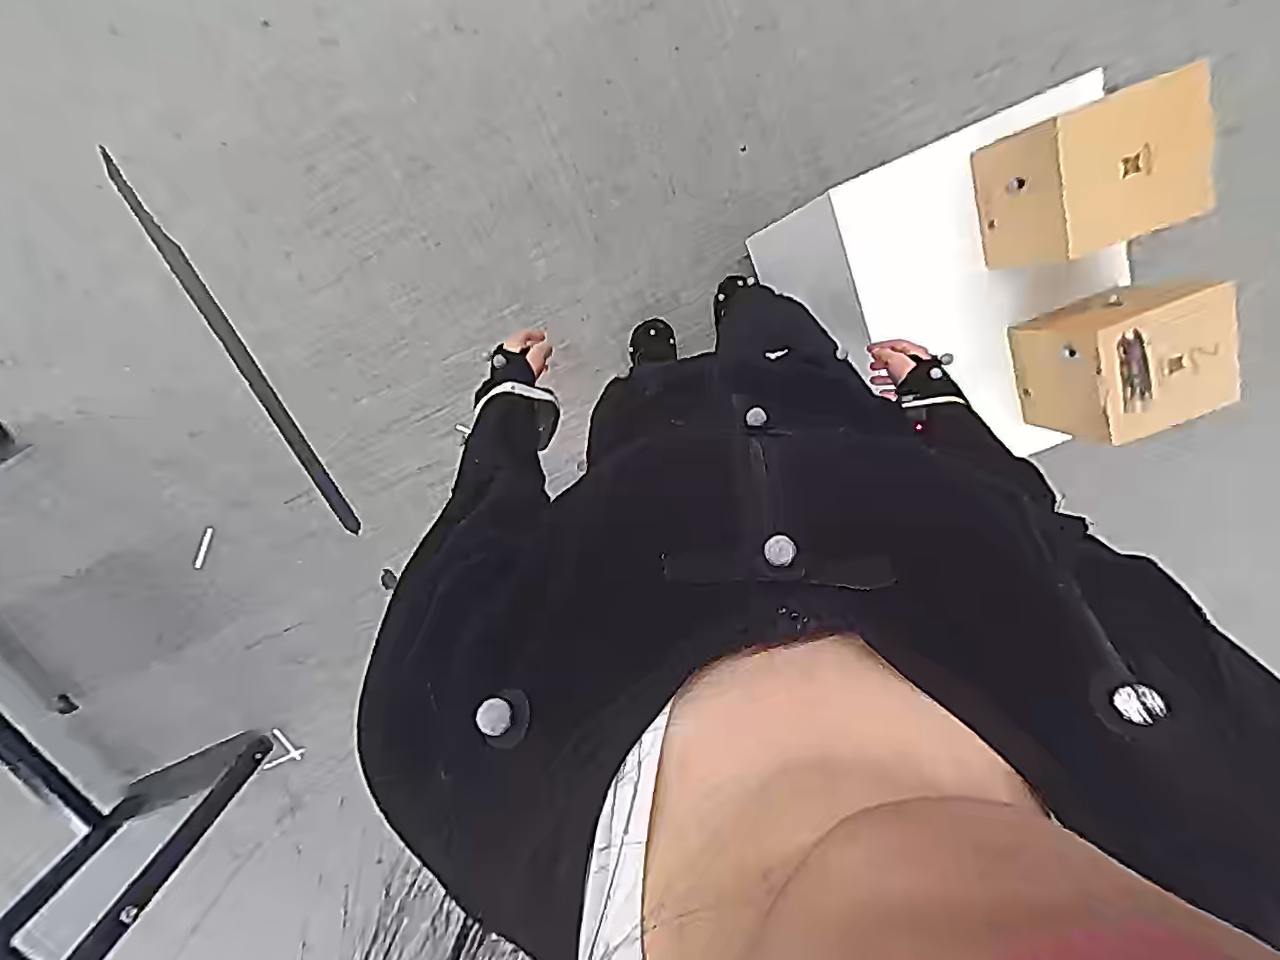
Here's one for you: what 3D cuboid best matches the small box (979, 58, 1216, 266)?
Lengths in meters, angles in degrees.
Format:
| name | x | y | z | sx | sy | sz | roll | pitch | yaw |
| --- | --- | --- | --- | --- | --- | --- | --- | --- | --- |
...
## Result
| name | x | y | z | sx | sy | sz | roll | pitch | yaw |
| --- | --- | --- | --- | --- | --- | --- | --- | --- | --- |
| small box | 0.575 | -0.391 | 0.704 | 0.179 | 0.176 | 0.168 | -19 | 107 | 4 |
